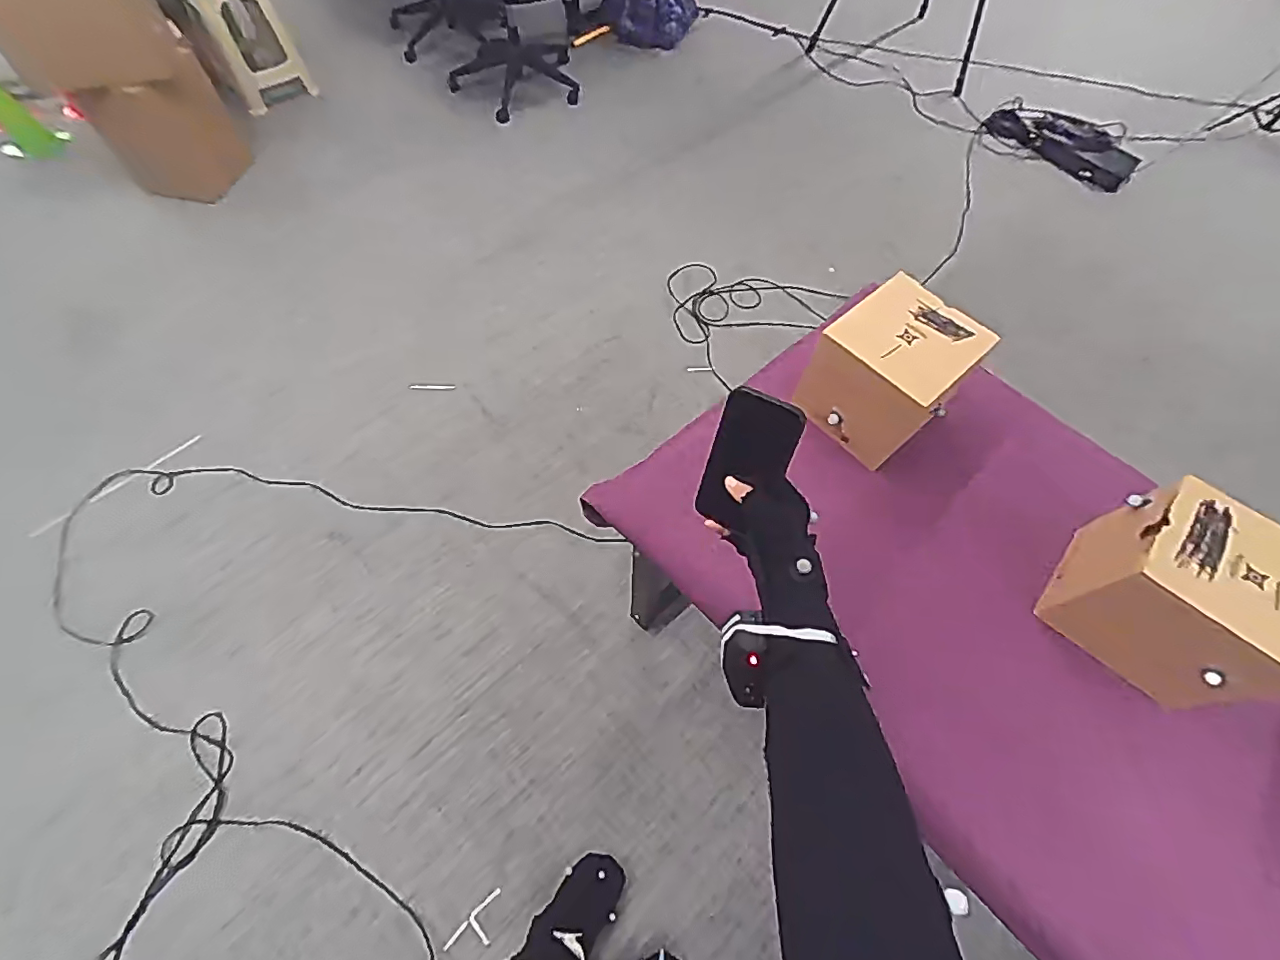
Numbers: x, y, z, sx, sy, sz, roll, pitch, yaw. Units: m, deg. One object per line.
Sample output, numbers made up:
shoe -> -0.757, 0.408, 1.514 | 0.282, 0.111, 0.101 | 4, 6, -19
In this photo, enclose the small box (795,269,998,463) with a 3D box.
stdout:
small box -> 0.354, -0.159, 0.782 | 0.179, 0.176, 0.168 | -37, 69, -18
